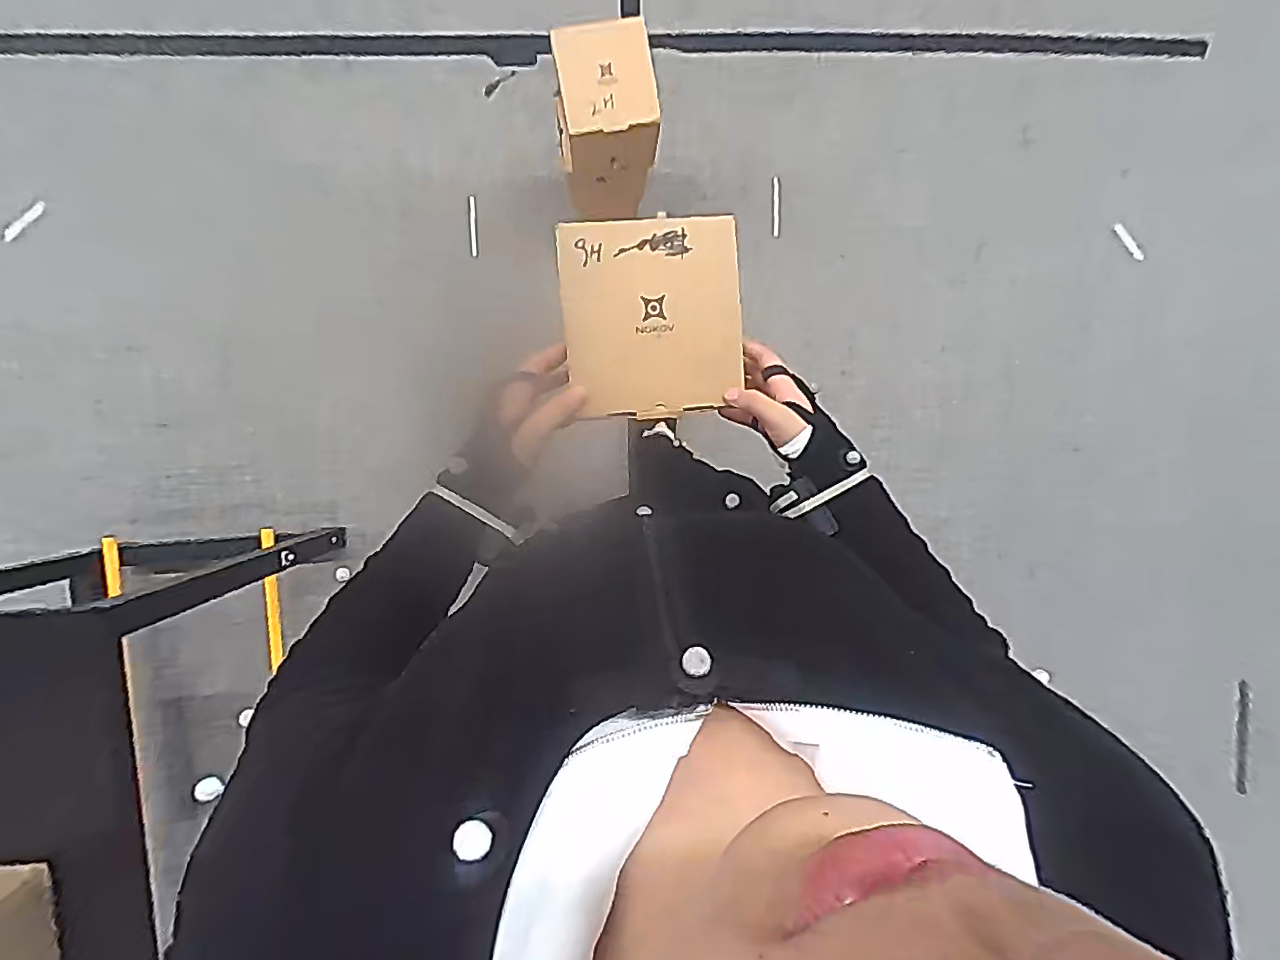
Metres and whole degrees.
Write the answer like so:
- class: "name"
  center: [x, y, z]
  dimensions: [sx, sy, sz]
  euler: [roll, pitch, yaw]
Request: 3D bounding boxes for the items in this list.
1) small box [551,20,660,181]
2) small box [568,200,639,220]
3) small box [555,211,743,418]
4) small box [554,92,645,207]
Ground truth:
- class: "small box"
  center: [-0.064, -0.694, 1.006]
  dimensions: [0.168, 0.176, 0.179]
  euler: [-10, 95, -2]
- class: "small box"
  center: [-0.098, -0.720, 1.333]
  dimensions: [0.168, 0.176, 0.179]
  euler: [-9, 96, -2]
- class: "small box"
  center: [0.005, -0.161, 0.572]
  dimensions: [0.168, 0.176, 0.179]
  euler: [-6, 98, -5]
- class: "small box"
  center: [-0.083, -0.710, 1.169]
  dimensions: [0.179, 0.176, 0.168]
  euler: [-7, 95, -3]
